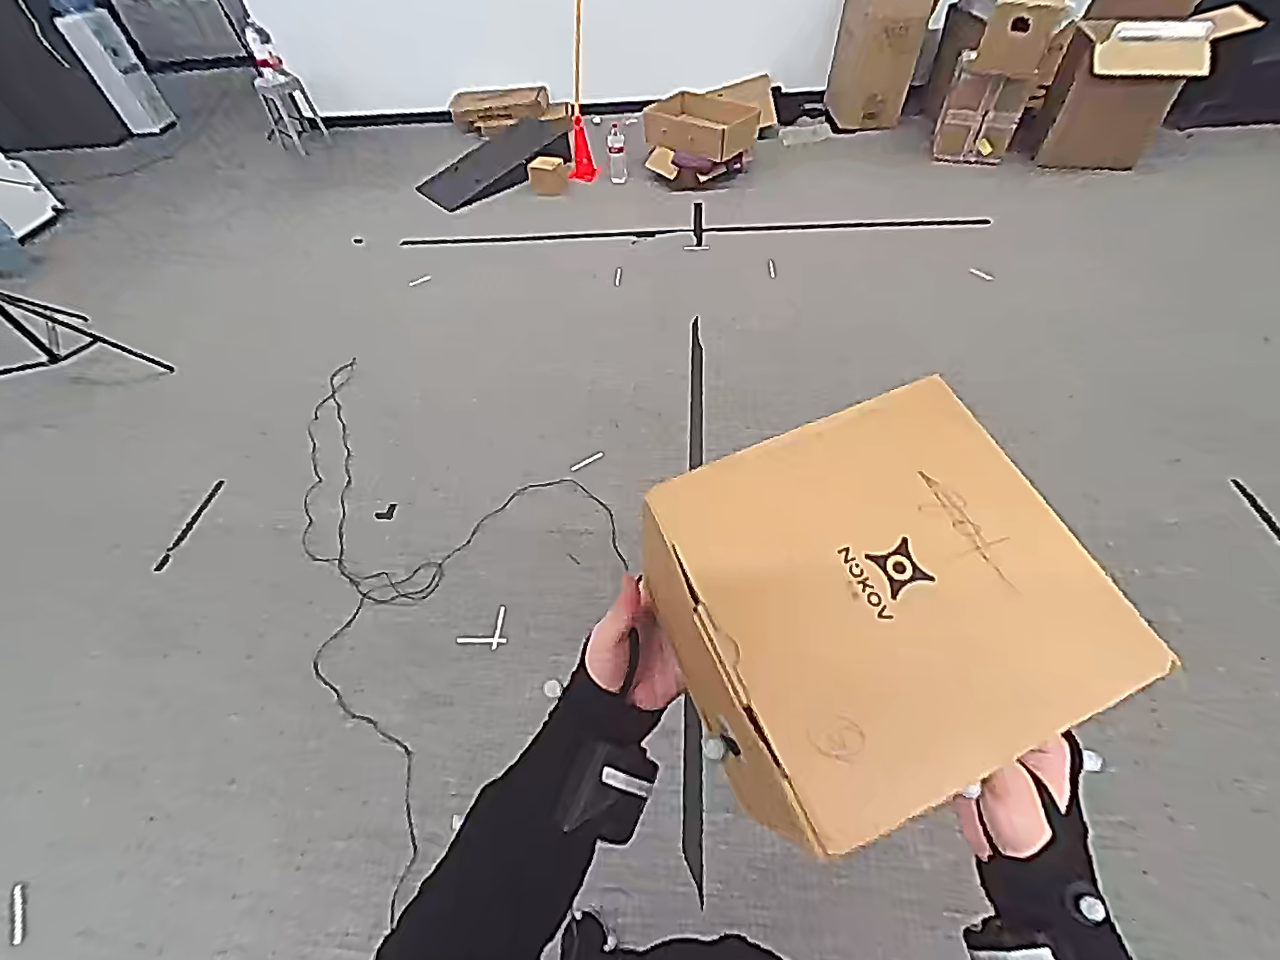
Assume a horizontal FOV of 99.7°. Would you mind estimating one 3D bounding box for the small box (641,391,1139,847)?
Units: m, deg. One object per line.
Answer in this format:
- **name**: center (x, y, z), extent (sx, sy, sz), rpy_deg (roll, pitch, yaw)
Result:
- **small box**: center (0.111, 0.082, 0.326), extent (0.179, 0.176, 0.168), rpy_deg (-22, 66, -12)
